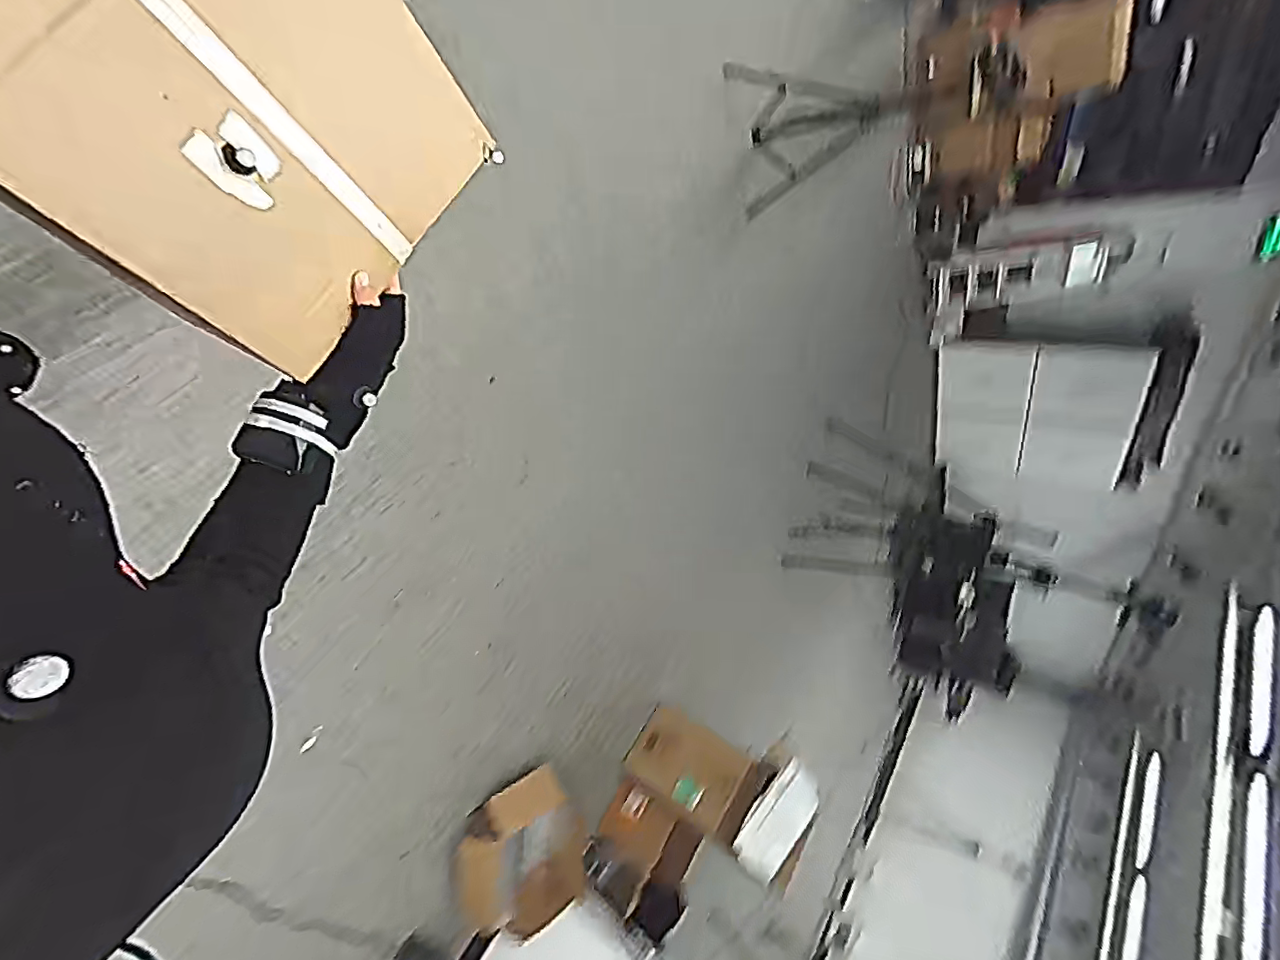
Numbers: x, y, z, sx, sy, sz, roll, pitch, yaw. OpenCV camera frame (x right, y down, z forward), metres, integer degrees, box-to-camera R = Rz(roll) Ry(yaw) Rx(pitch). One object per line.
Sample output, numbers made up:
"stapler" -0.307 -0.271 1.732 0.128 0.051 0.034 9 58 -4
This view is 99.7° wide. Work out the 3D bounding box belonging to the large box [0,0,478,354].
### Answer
"large box" -0.434 -0.369 0.447 0.320 0.320 0.408 -59 146 -11
